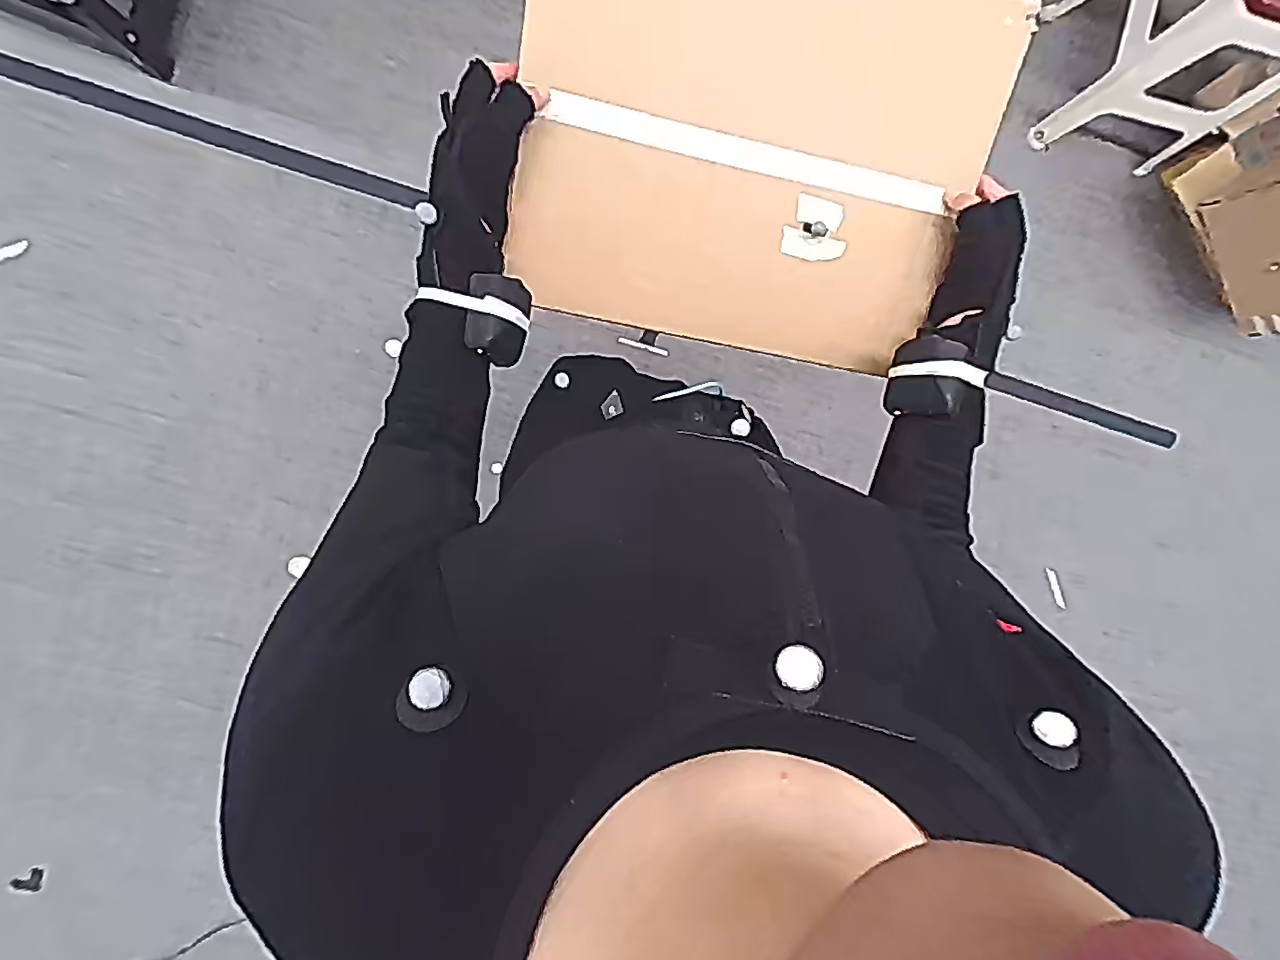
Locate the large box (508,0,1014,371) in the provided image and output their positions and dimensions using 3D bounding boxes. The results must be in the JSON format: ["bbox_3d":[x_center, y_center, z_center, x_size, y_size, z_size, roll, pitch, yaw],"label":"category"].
[{"bbox_3d":[0.083,-0.329,0.615,0.408,0.320,0.320,9,110,-9],"label":"large box"}]
